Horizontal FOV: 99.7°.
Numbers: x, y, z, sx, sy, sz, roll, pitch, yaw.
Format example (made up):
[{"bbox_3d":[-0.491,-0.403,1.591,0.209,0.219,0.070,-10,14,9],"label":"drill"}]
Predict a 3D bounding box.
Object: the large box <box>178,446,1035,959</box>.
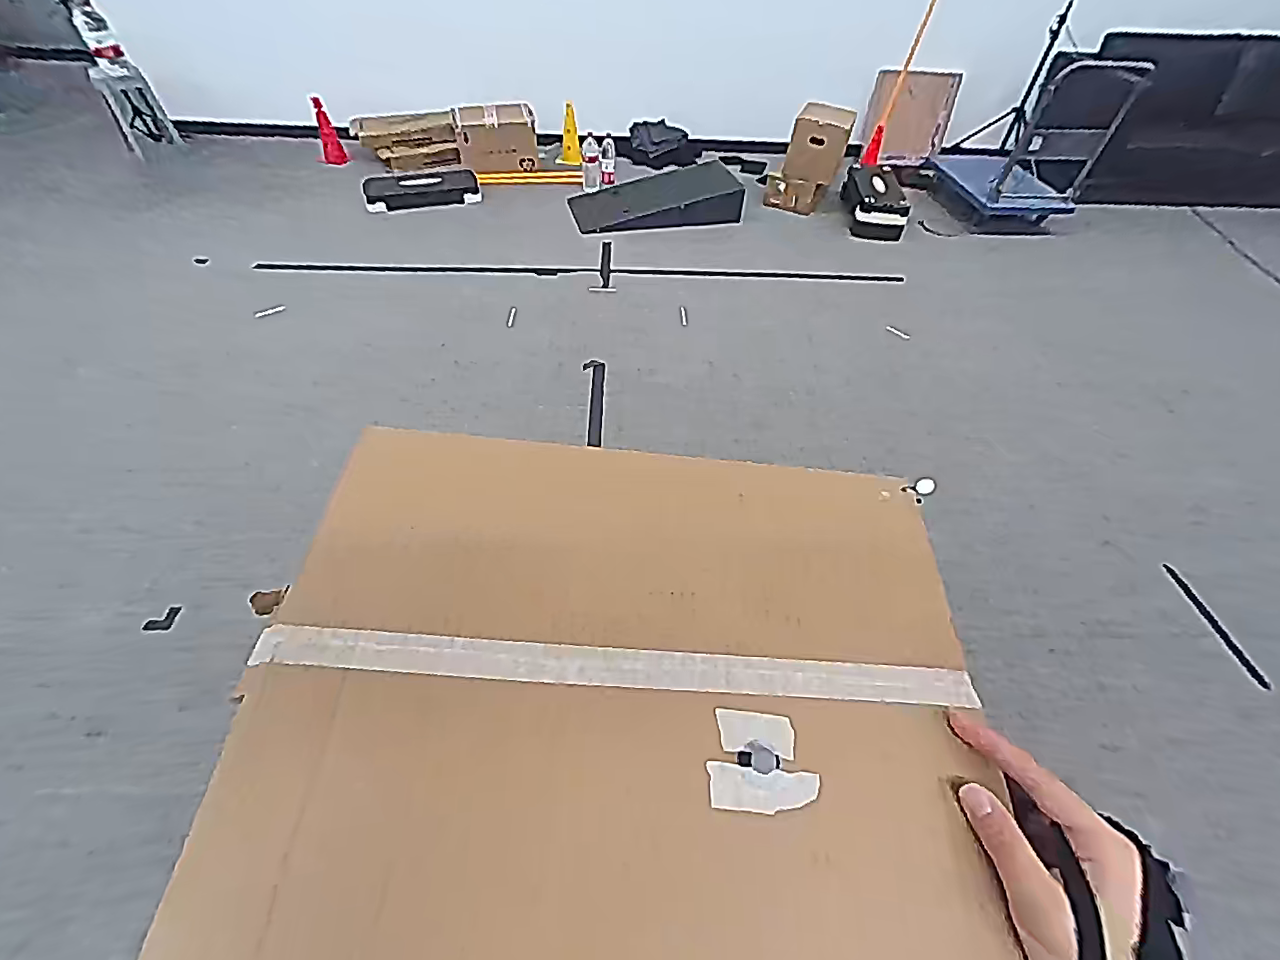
[{"bbox_3d":[-0.017,0.200,0.443,0.408,0.320,0.320,6,56,-4],"label":"large box"}]
